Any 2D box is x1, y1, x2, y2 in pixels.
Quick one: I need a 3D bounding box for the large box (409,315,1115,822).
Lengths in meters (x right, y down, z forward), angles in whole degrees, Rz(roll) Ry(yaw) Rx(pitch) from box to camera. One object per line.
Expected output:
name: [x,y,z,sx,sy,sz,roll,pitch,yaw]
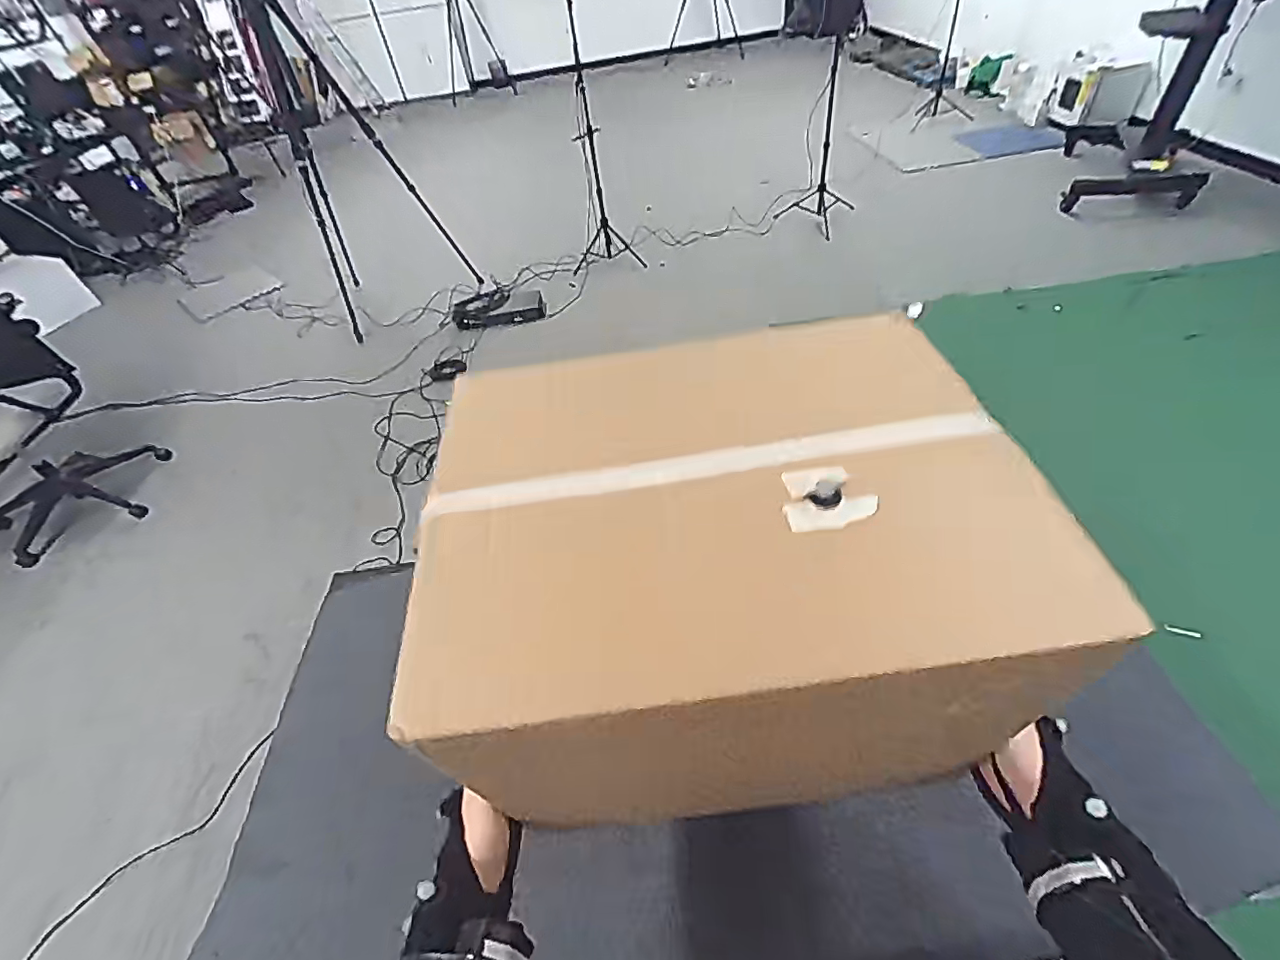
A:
large box: [0.063,0.089,0.503,0.408,0.320,0.320,-8,50,0]
